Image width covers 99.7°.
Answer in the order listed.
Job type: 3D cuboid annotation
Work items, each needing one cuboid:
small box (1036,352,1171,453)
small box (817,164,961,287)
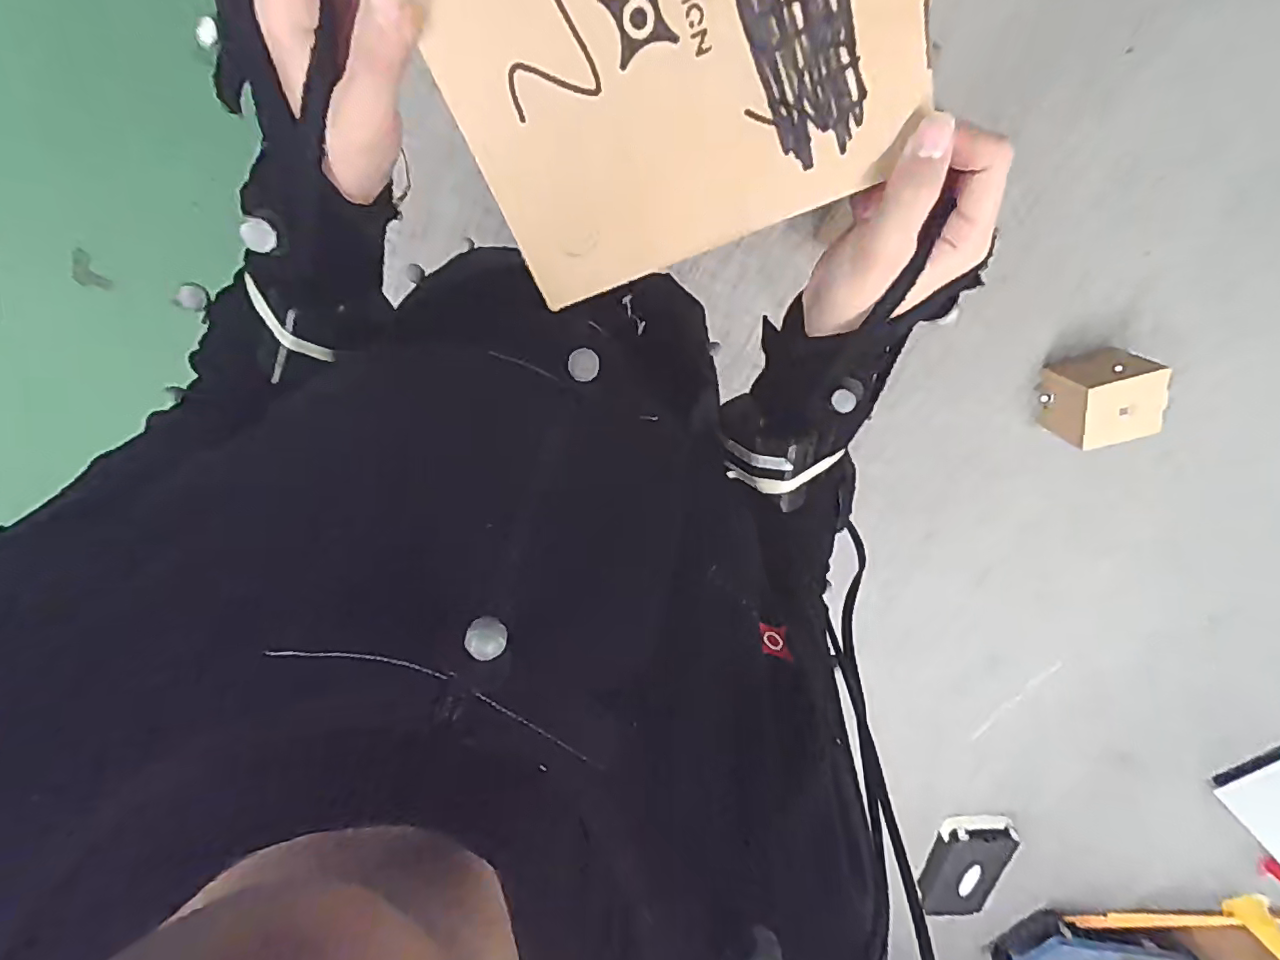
[{"bbox_3d":[1.101,-0.192,1.298,0.179,0.176,0.168,-15,117,8],"label":"small box"},{"bbox_3d":[0.493,-0.517,1.102,0.179,0.176,0.168,20,117,-13],"label":"small box"}]
